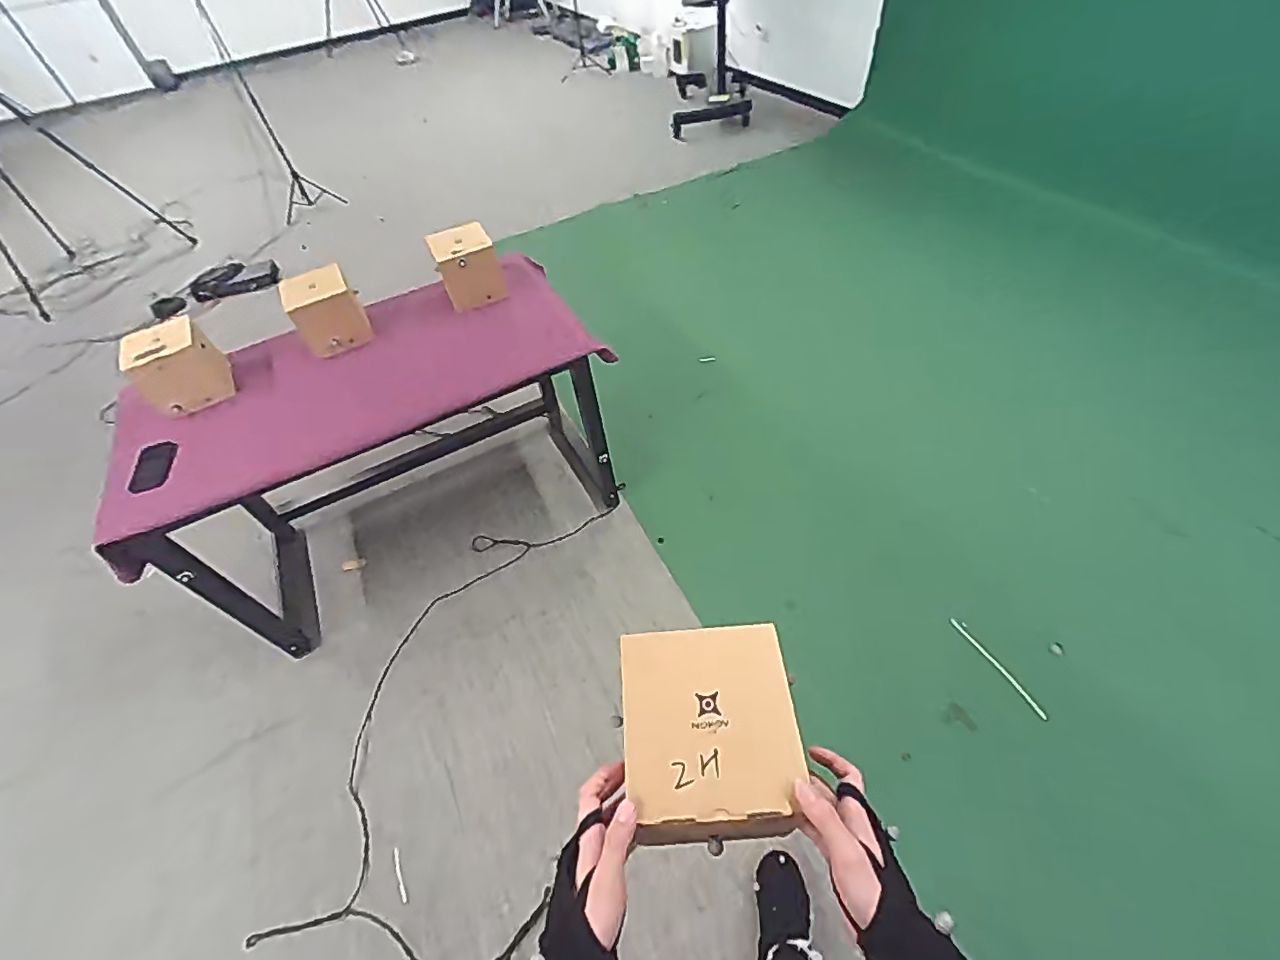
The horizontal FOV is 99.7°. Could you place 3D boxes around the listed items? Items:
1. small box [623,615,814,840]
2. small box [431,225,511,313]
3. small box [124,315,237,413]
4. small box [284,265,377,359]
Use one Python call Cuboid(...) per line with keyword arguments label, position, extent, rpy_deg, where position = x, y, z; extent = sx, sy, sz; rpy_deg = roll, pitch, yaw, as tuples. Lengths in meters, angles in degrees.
Cuboid(label="small box", position=(0.069, 0.265, 0.577), extent=(0.168, 0.176, 0.179), rpy_deg=(-5, 50, 1))
Cuboid(label="small box", position=(-0.505, -0.630, 1.620), extent=(0.168, 0.176, 0.179), rpy_deg=(-23, 51, -11))
Cuboid(label="small box", position=(-1.206, -0.299, 1.429), extent=(0.168, 0.176, 0.179), rpy_deg=(-28, 52, -16))
Cuboid(label="small box", position=(-0.877, -0.476, 1.539), extent=(0.168, 0.176, 0.179), rpy_deg=(-26, 53, -13))
